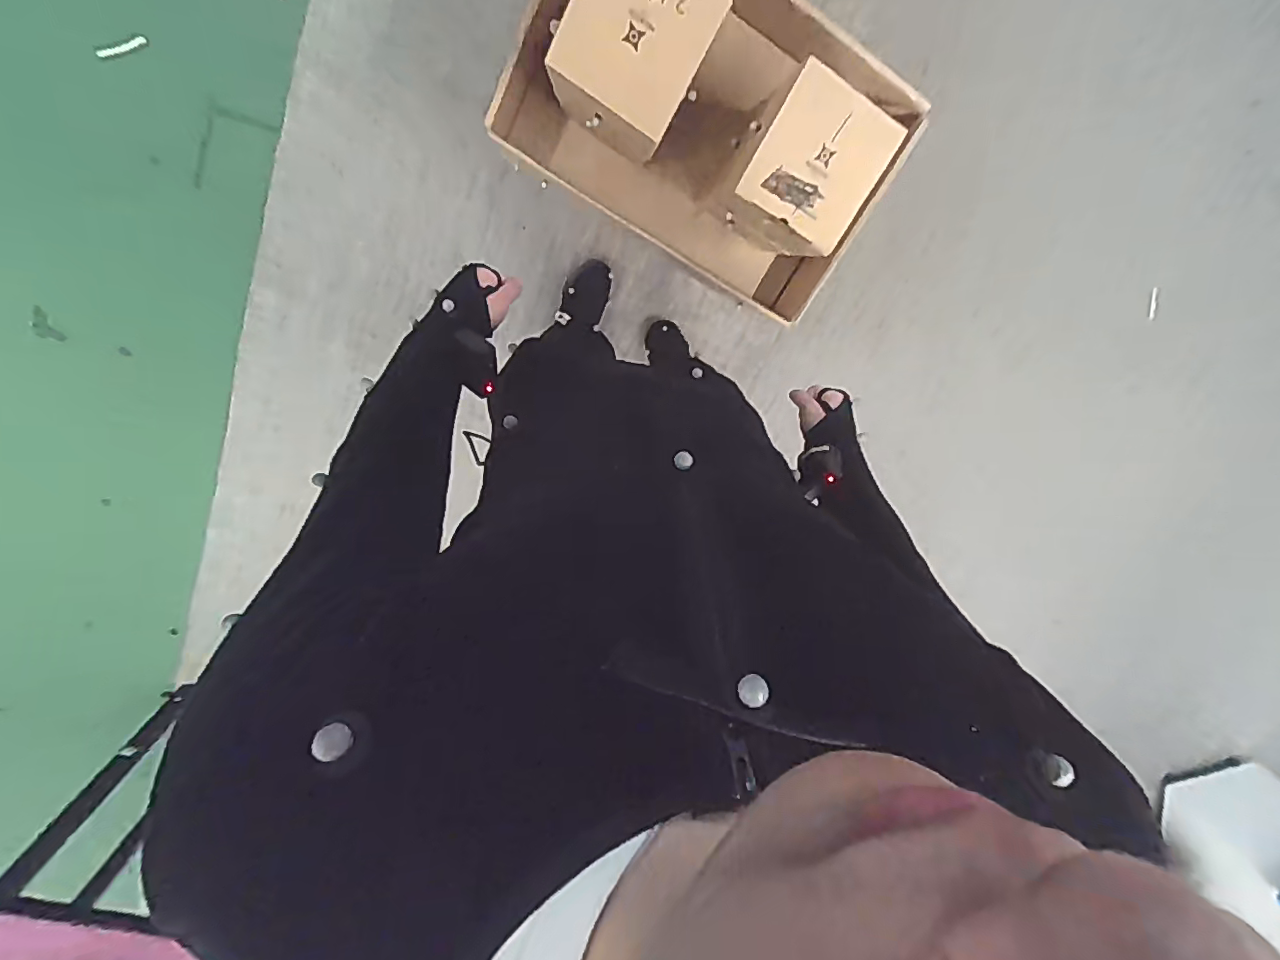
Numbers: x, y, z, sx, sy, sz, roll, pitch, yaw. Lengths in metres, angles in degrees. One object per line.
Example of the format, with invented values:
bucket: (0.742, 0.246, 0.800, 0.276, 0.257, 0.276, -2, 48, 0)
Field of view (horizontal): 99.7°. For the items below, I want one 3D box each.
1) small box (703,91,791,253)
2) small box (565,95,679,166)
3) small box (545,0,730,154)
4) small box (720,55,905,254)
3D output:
small box: (0.223, -0.519, 0.940, 0.168, 0.176, 0.179, 27, 109, -14)
small box: (-0.015, -0.644, 0.868, 0.168, 0.176, 0.179, 30, 108, -14)
small box: (-0.007, -0.571, 0.722, 0.168, 0.176, 0.179, 28, 109, -15)
small box: (0.233, -0.454, 0.789, 0.168, 0.176, 0.179, 27, 109, -14)
